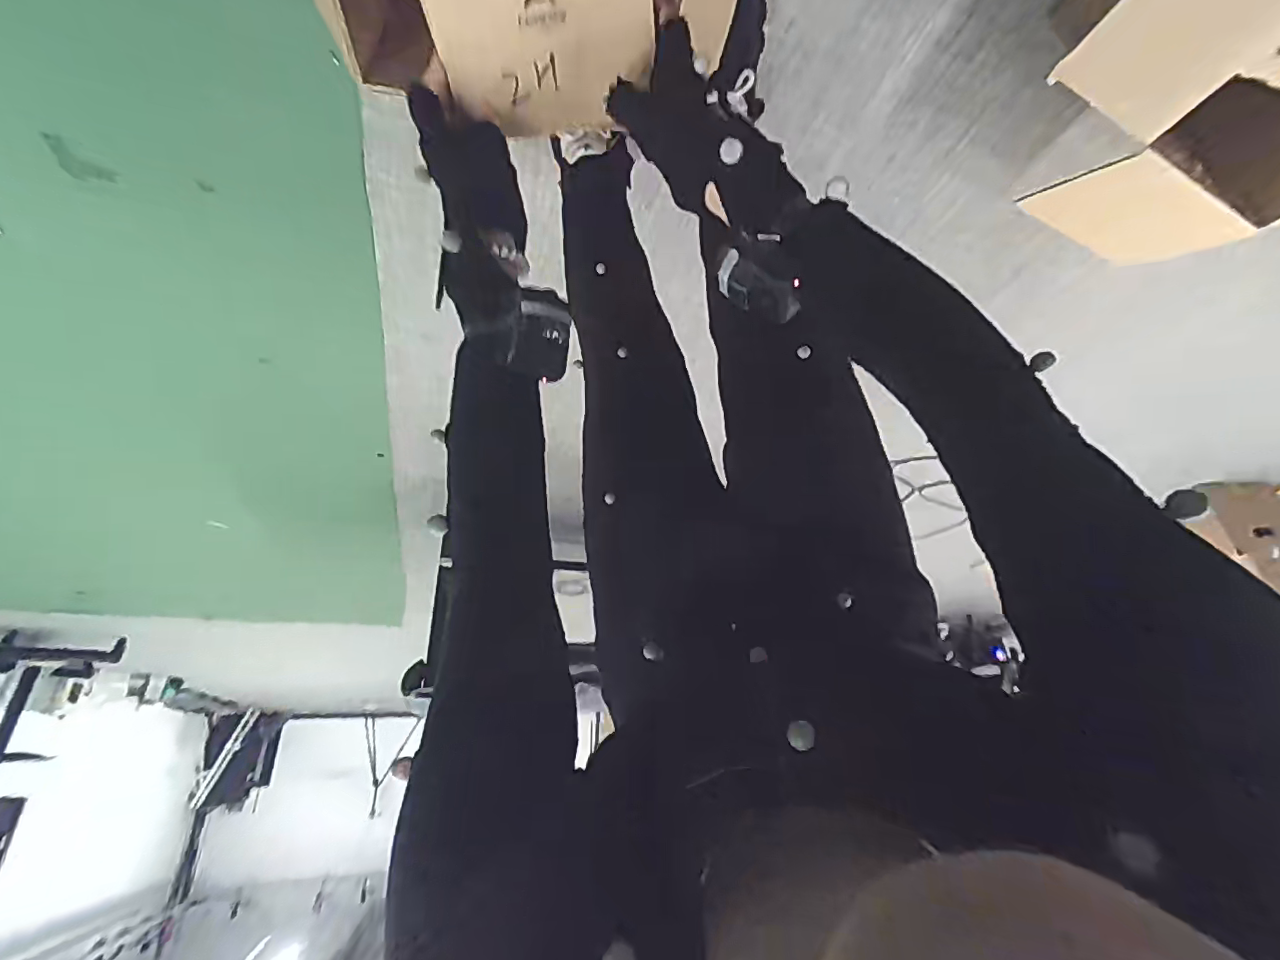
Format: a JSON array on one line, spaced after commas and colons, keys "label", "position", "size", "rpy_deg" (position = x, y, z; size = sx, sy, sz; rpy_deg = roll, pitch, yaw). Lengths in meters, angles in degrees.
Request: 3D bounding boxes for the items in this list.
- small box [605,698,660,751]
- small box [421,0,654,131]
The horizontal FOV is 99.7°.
[{"label": "small box", "position": [-0.034, 0.896, 1.988], "size": [0.168, 0.176, 0.179], "rpy_deg": [5, 153, -15]}, {"label": "small box", "position": [-0.081, -0.416, 0.427], "size": [0.168, 0.176, 0.179], "rpy_deg": [-5, 147, 3]}]
